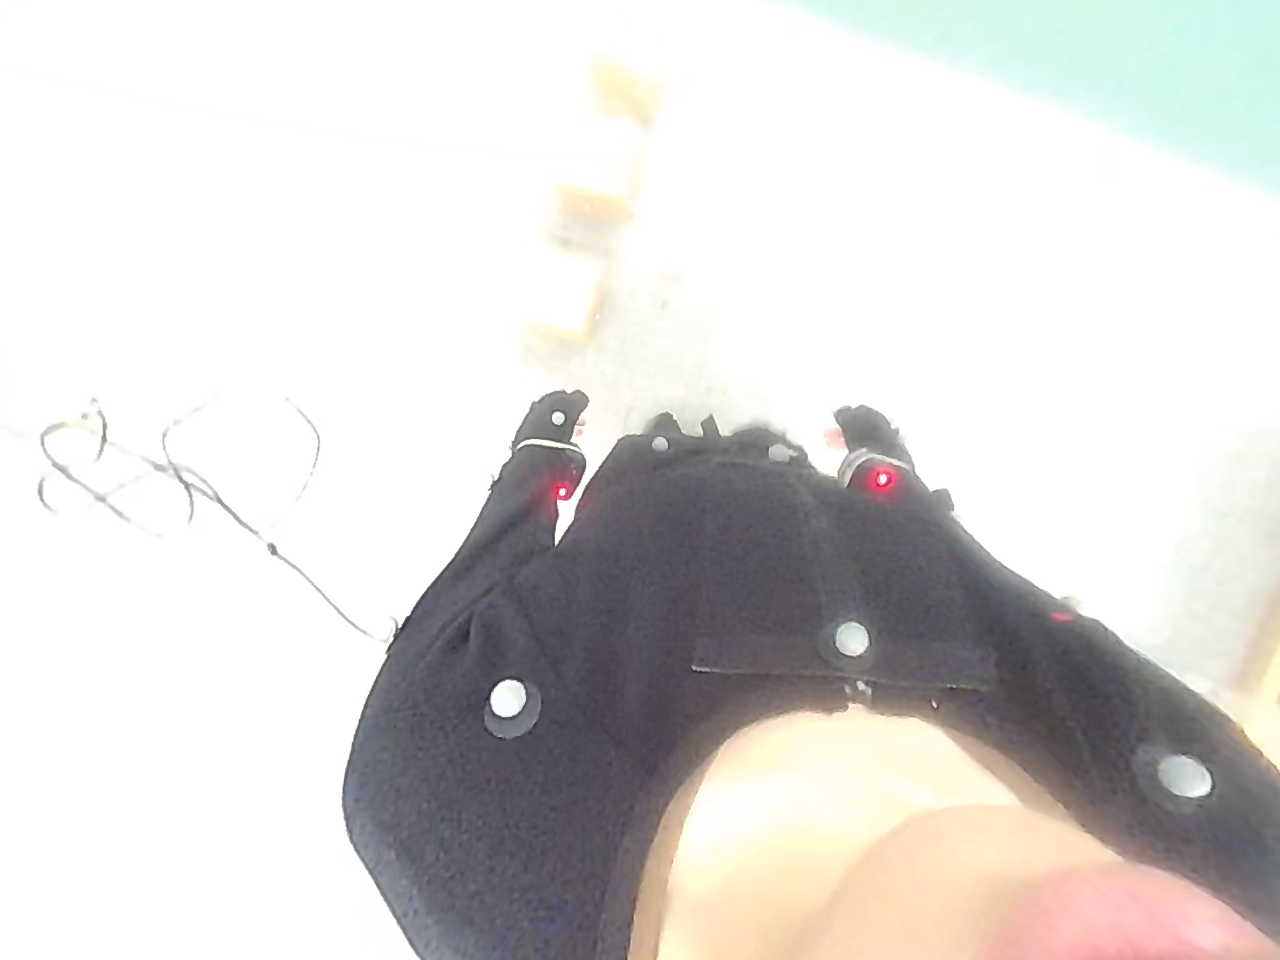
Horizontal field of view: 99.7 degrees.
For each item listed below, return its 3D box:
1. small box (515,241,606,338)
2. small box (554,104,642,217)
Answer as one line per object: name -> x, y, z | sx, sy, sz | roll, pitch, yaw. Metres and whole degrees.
small box -> -0.190, -0.461, 1.340 | 0.179, 0.176, 0.168 | 16, 95, -2
small box -> -0.096, -0.764, 1.312 | 0.179, 0.176, 0.168 | 12, 94, 0
